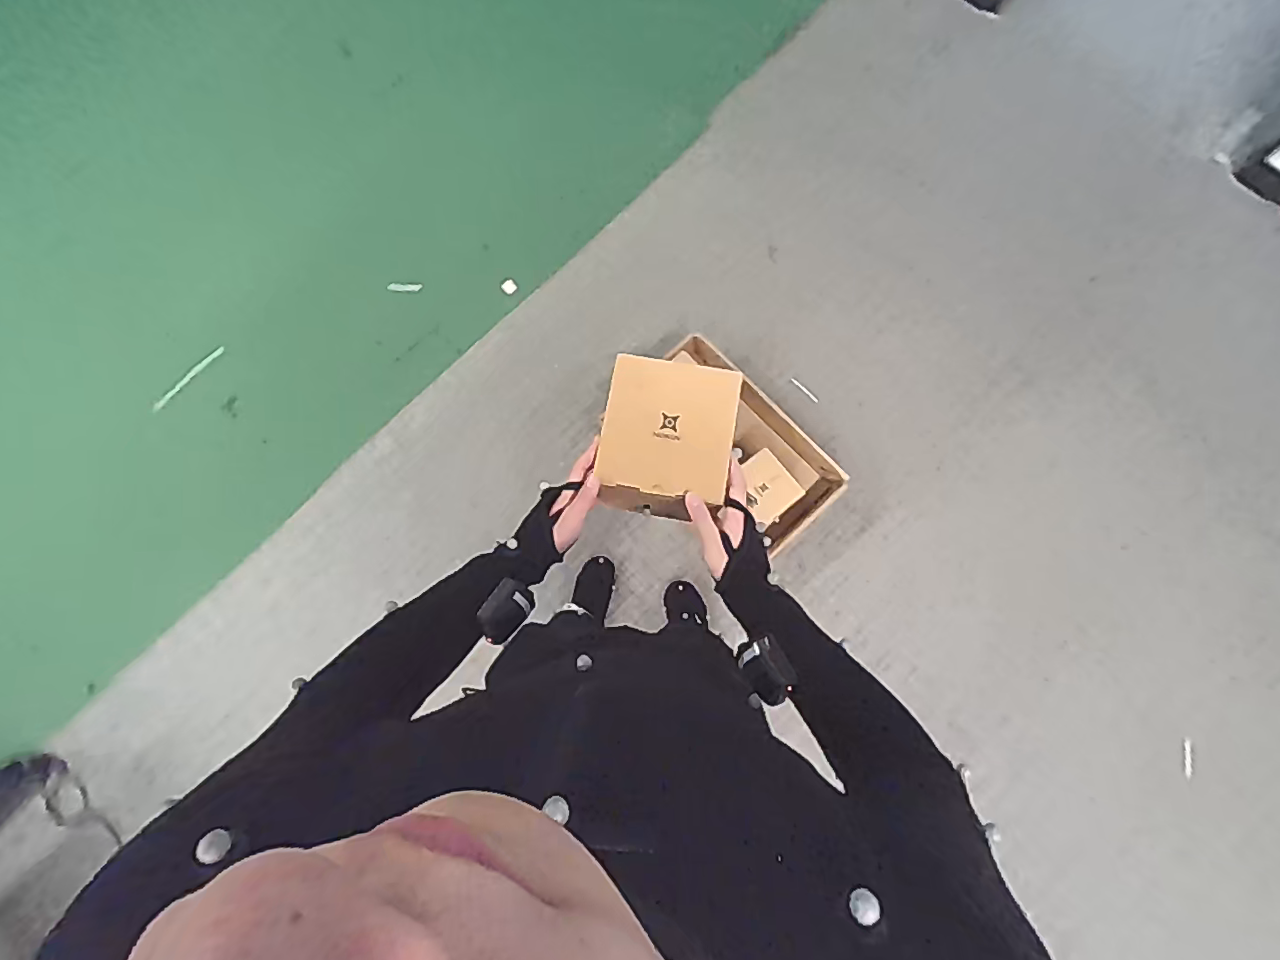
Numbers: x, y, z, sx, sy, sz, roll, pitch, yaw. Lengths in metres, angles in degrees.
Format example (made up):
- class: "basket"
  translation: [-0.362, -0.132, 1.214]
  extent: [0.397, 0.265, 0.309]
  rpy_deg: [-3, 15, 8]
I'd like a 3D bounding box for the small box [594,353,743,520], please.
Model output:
- class: "small box"
  translation: [0.036, -0.051, 0.751]
  extent: [0.168, 0.176, 0.179]
  rpy_deg: [9, 79, 2]
